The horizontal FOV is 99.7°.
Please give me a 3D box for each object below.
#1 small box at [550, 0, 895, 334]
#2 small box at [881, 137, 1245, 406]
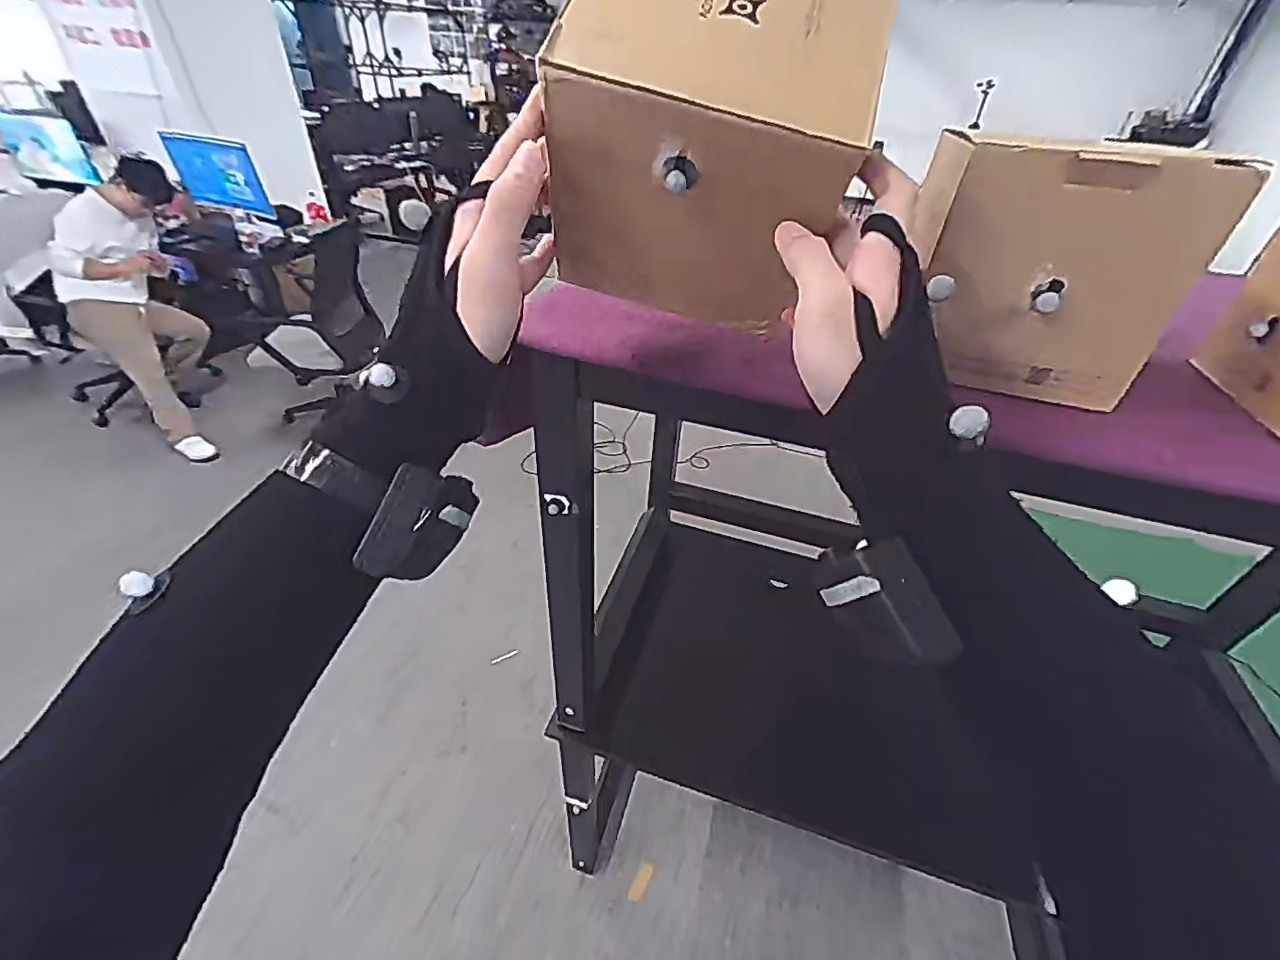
[{"bbox_3d":[0.050,-0.233,0.389,0.179,0.176,0.168,18,68,2],"label":"small box"},{"bbox_3d":[0.317,-0.181,0.460,0.168,0.176,0.179,14,37,12],"label":"small box"}]
